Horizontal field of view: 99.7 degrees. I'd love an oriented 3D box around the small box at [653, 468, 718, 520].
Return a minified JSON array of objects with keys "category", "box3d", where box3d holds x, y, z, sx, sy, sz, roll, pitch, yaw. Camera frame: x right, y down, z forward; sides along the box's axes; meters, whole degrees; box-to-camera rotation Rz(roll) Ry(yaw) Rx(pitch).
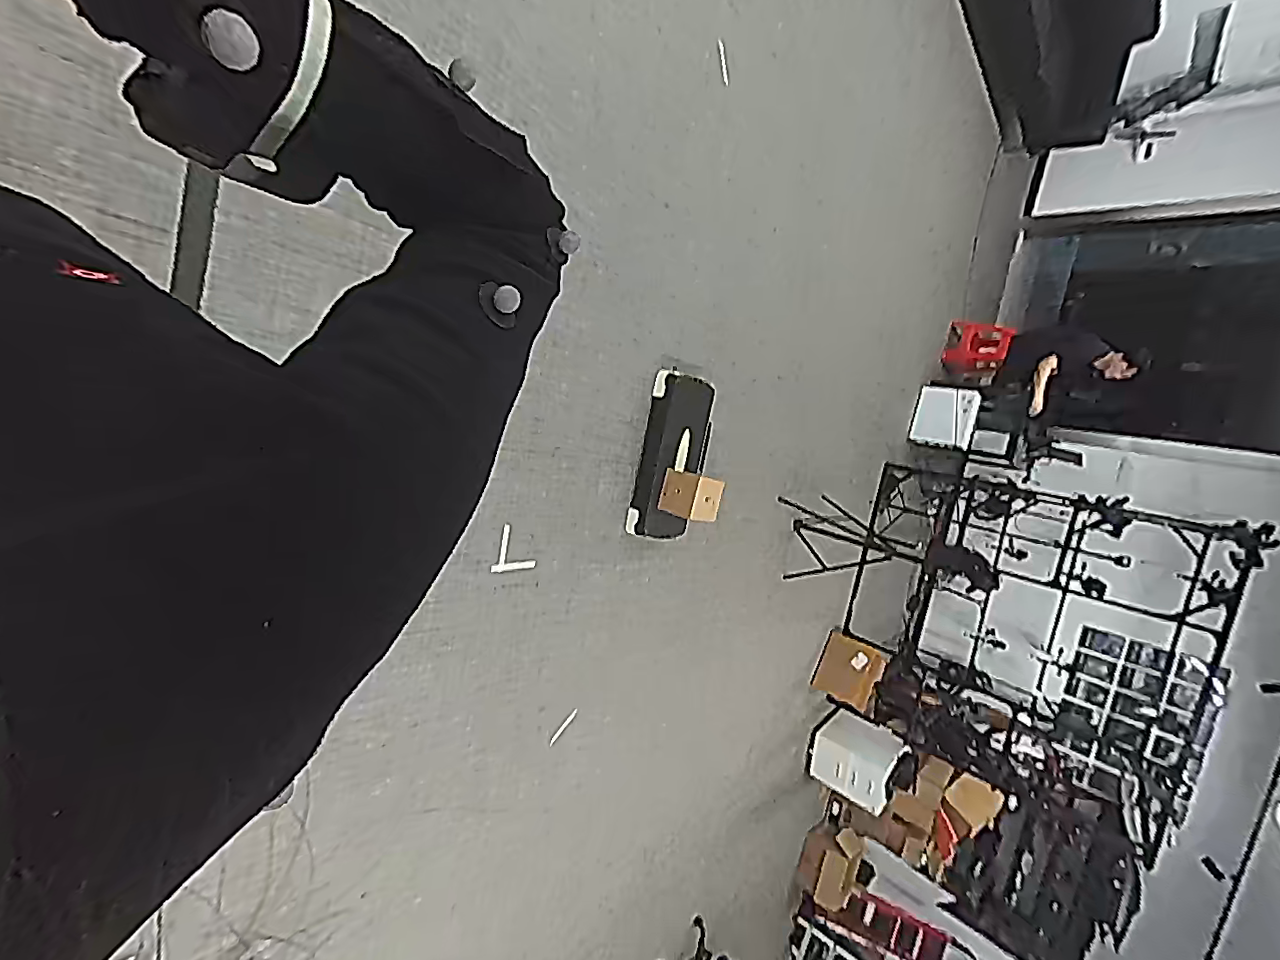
[{"category":"small box","box3d":[0.177,0.055,2.130,0.179,0.176,0.168,12,94,-50]}]
